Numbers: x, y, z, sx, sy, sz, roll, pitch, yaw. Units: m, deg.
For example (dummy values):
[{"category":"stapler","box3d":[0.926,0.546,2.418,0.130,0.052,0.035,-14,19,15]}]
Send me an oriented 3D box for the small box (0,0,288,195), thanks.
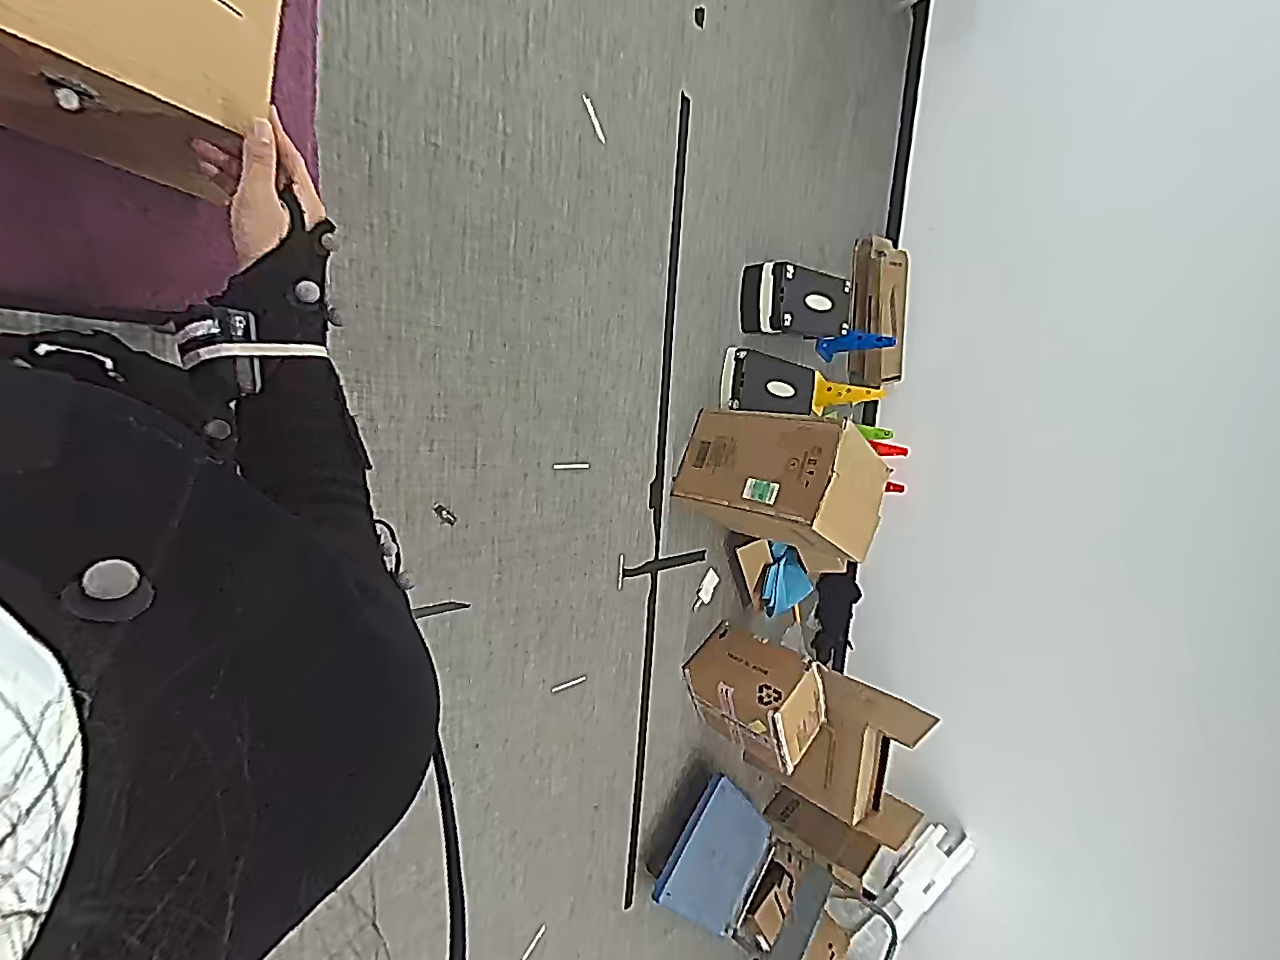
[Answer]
[{"category":"small box","box3d":[-0.375,-0.334,0.384,0.179,0.176,0.168,8,90,-47]}]
